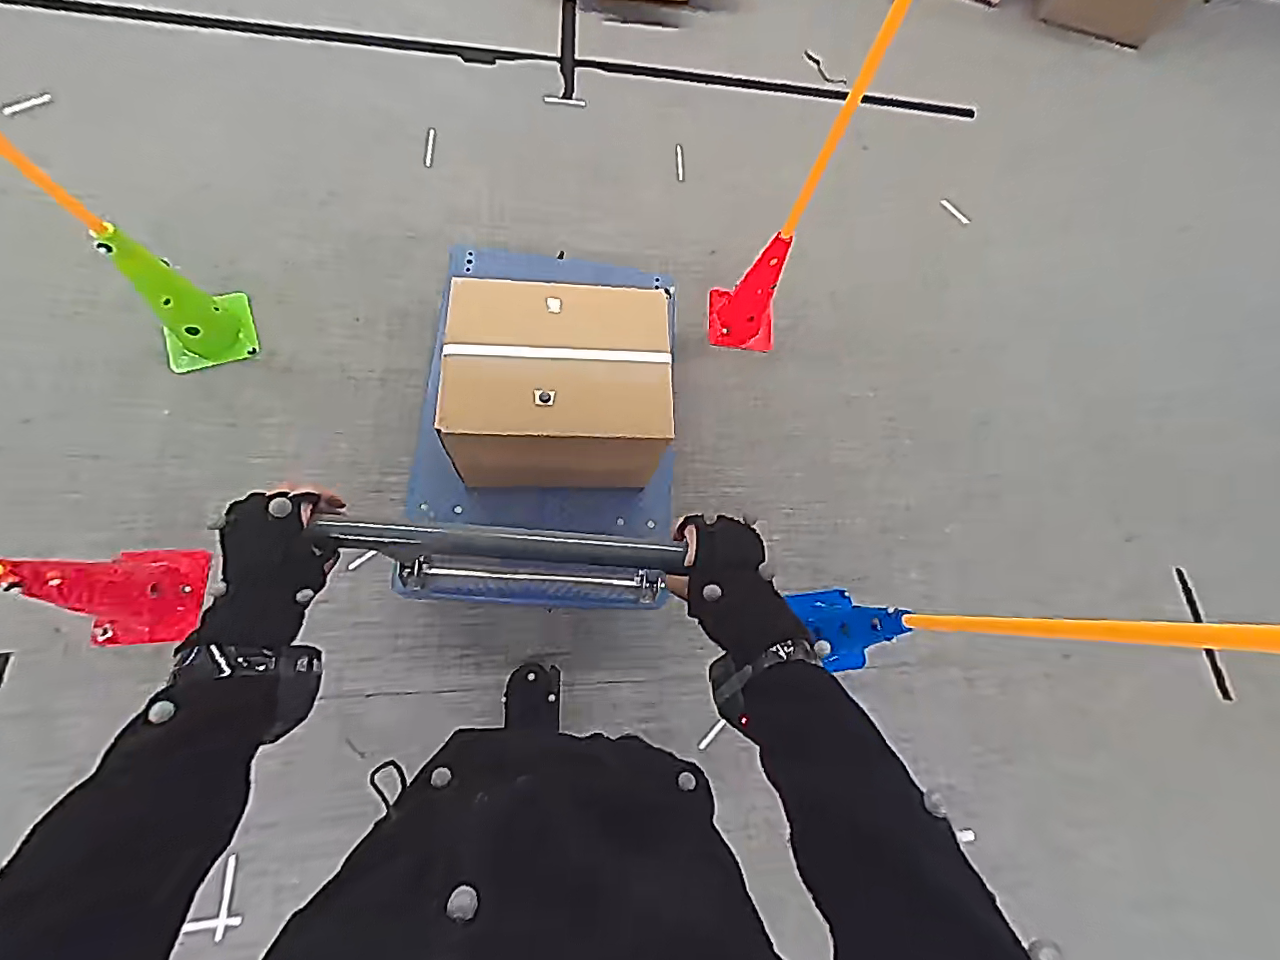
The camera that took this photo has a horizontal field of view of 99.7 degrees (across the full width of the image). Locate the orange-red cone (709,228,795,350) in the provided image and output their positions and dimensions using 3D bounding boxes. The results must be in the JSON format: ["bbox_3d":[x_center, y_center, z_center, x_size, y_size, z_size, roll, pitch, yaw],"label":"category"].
[{"bbox_3d":[0.335,-0.542,1.473,0.199,0.360,0.198,7,71,-8],"label":"orange-red cone"}]

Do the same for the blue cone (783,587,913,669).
[{"bbox_3d":[0.491,0.319,1.220,0.193,0.380,0.192,-3,71,-10],"label":"blue cone"}]
